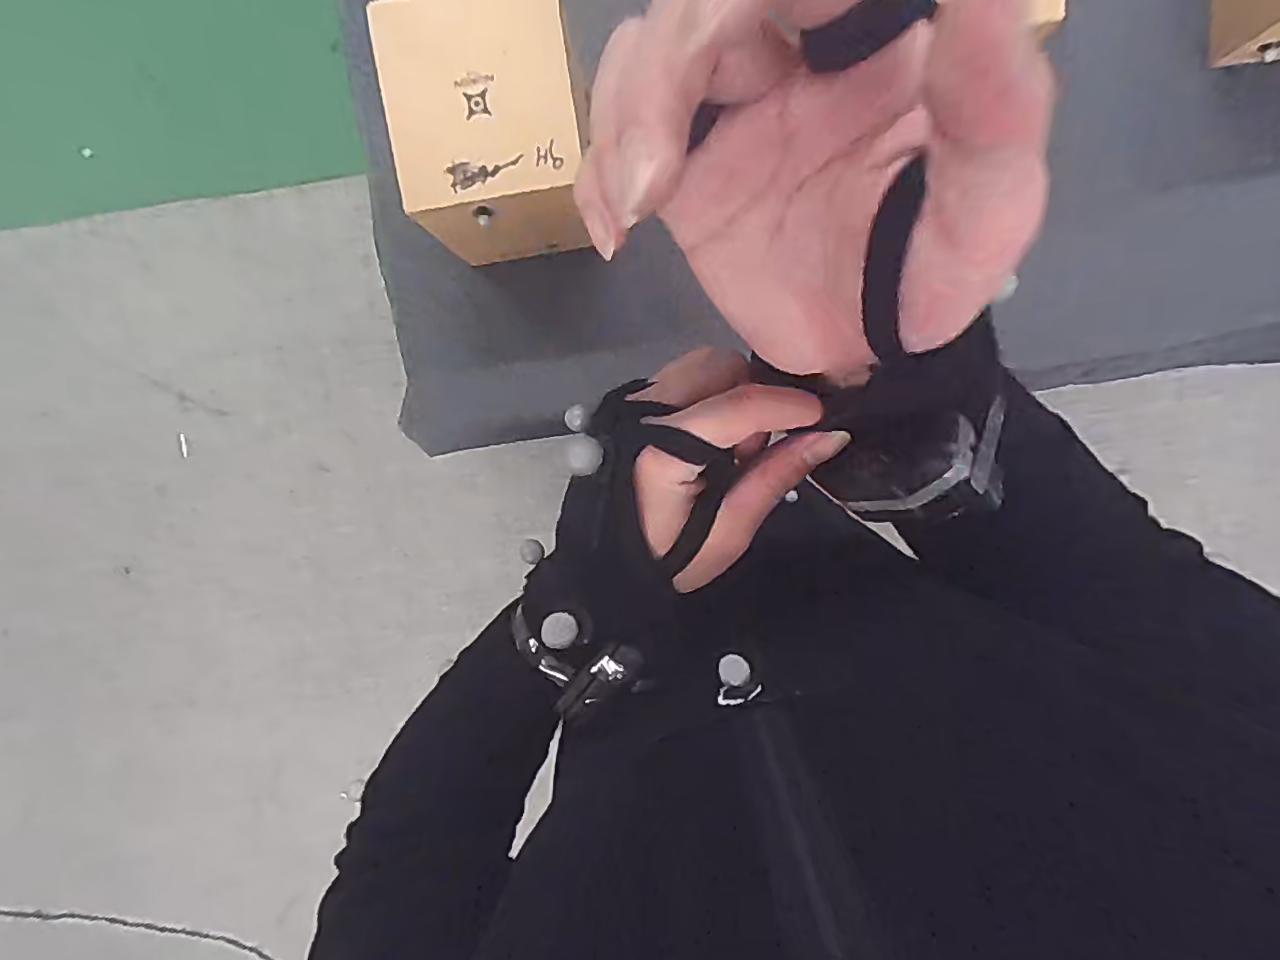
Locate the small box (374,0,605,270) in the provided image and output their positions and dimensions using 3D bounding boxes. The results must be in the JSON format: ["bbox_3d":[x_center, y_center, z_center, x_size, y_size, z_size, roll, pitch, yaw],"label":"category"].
[{"bbox_3d":[-0.133,-0.334,0.543,0.168,0.176,0.179,-8,95,4],"label":"small box"}]
